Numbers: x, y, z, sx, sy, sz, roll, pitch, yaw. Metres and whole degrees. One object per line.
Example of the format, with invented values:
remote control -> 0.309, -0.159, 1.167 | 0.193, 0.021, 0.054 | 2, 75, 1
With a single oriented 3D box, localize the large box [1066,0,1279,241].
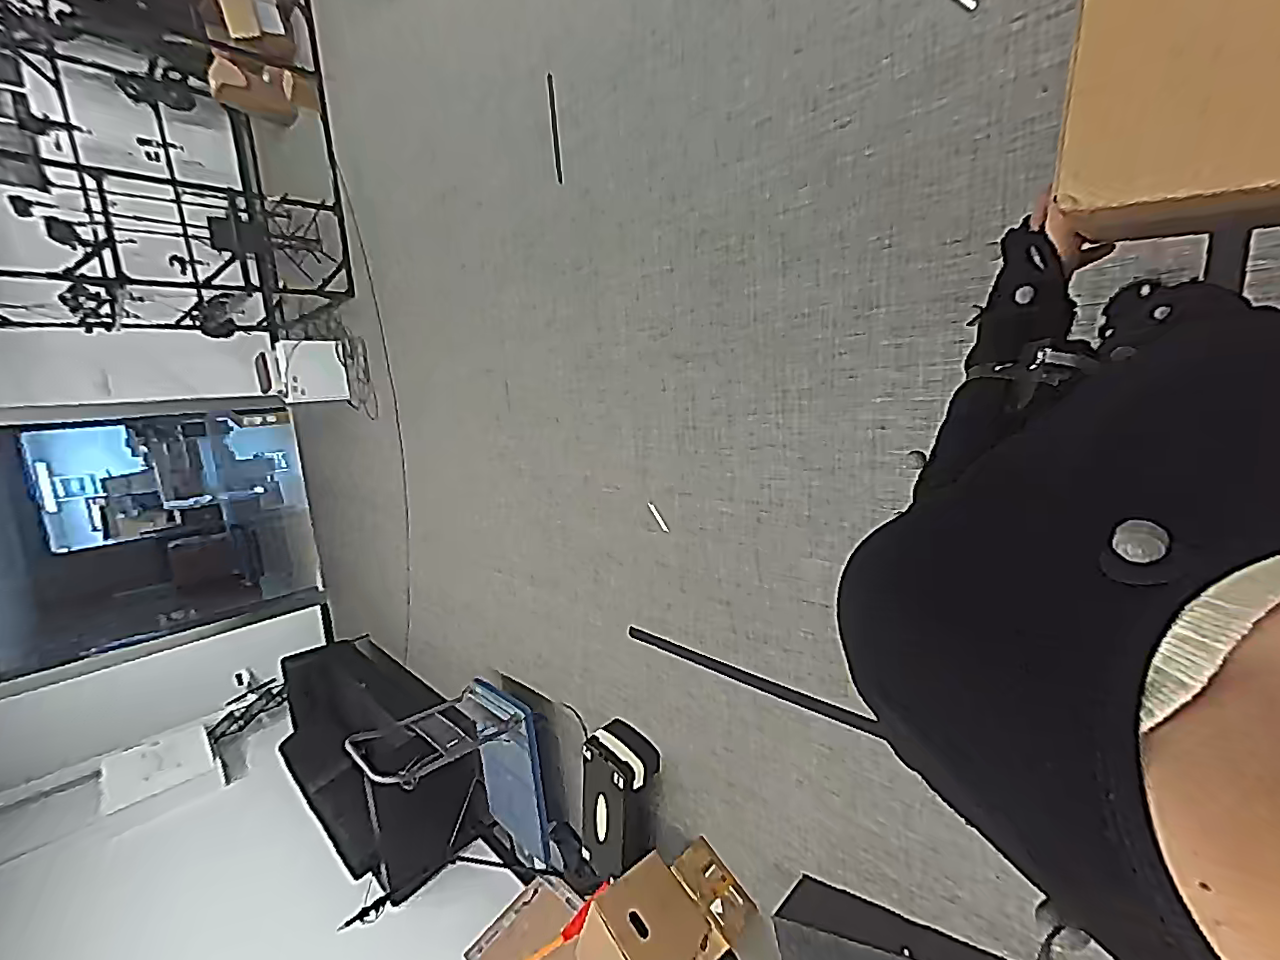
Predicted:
large box -> 0.435, -0.292, 0.202 | 0.408, 0.320, 0.320 | 10, 112, 38
